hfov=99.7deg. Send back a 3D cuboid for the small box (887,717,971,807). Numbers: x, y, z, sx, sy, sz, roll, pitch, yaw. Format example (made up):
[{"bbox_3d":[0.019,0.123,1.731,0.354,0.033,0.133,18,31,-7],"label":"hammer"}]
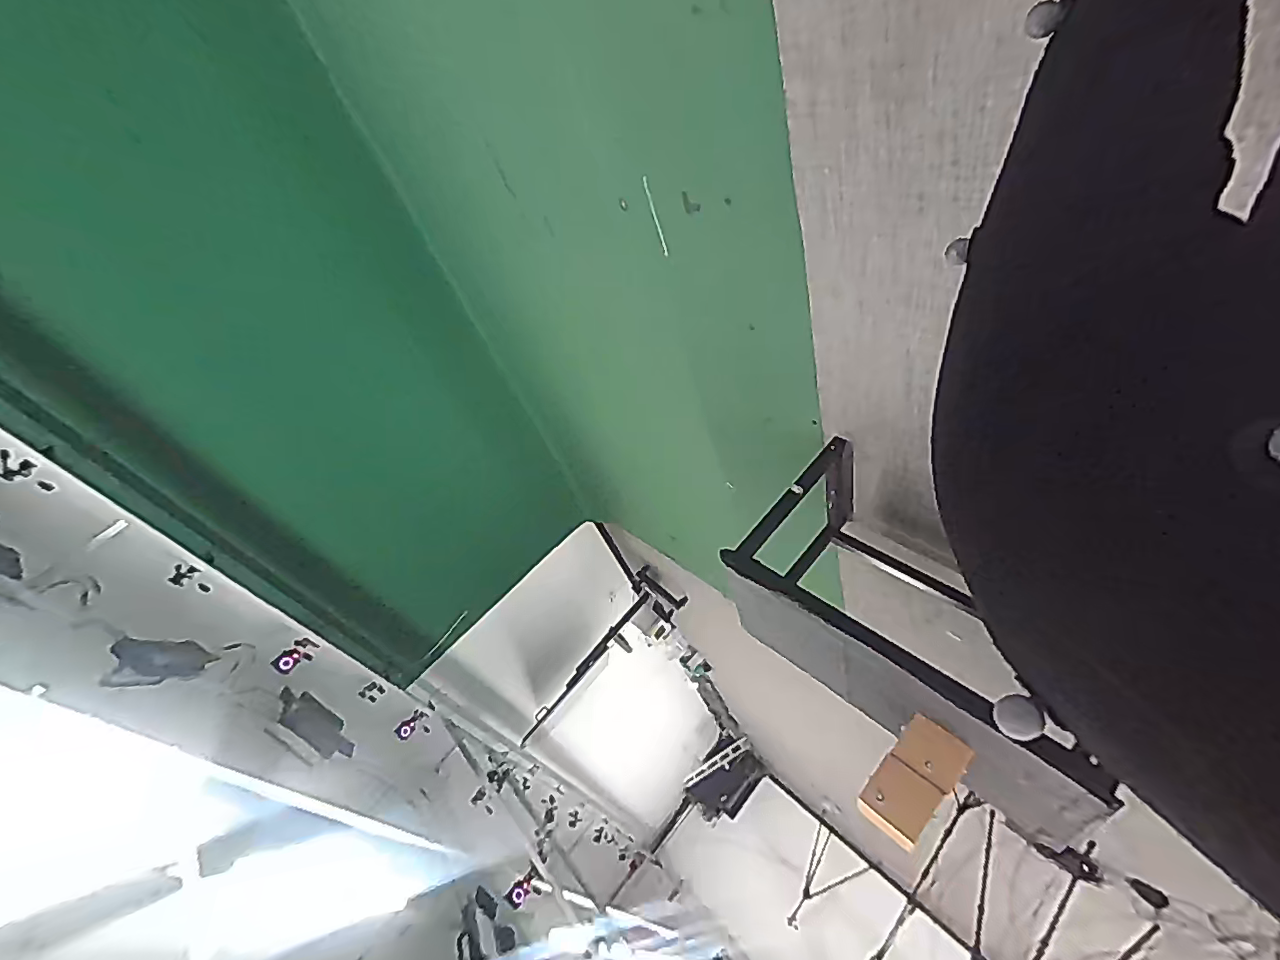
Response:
[{"bbox_3d":[0.888,0.874,1.673,0.179,0.176,0.168,32,155,36],"label":"small box"}]

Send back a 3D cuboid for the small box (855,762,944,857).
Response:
[{"bbox_3d":[0.771,0.975,1.616,0.179,0.176,0.168,30,155,37],"label":"small box"}]
